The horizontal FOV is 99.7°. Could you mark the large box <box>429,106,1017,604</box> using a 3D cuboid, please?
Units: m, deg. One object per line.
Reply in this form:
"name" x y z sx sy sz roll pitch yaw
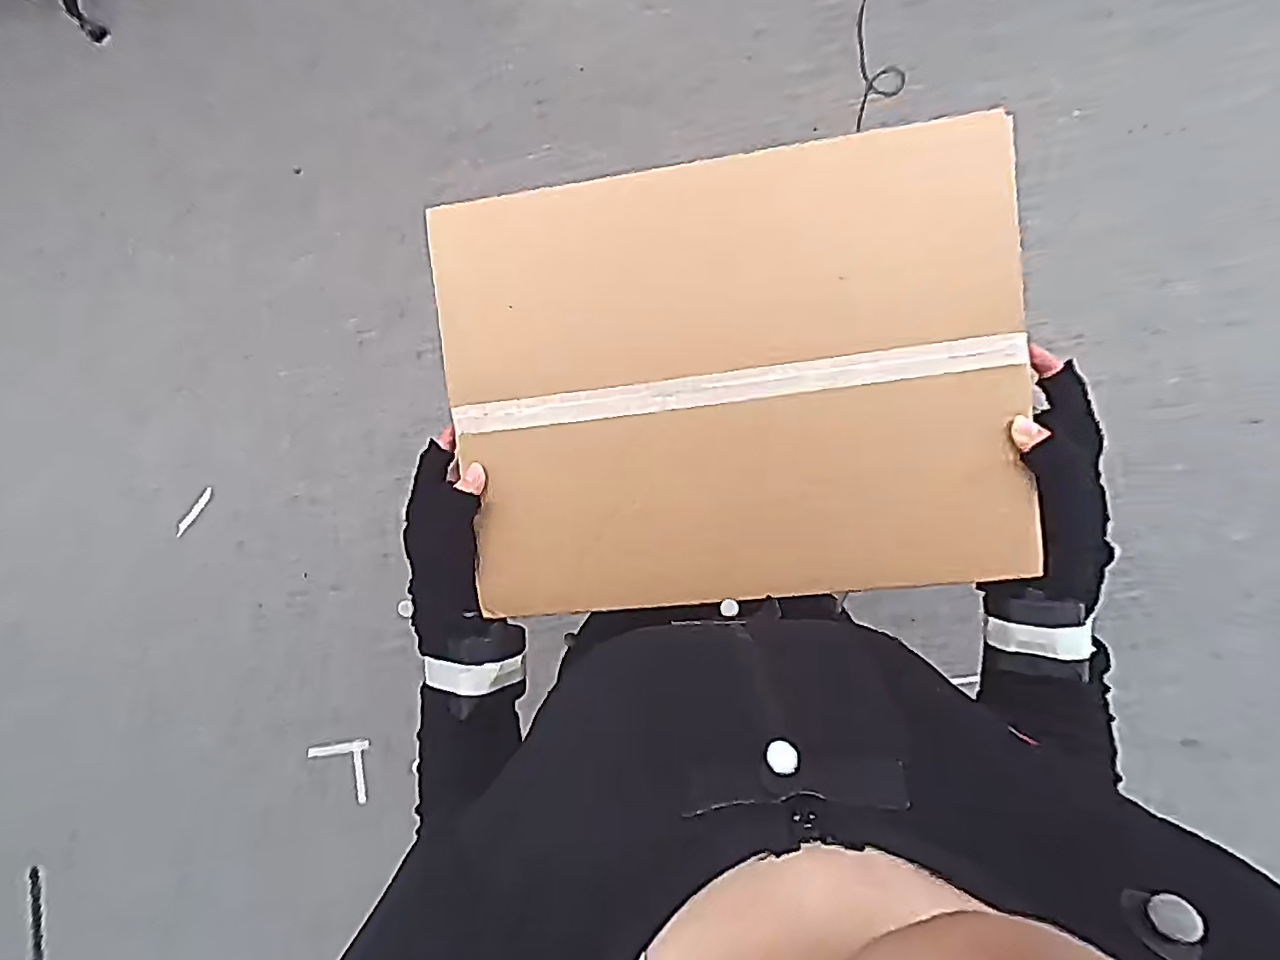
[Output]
"large box" 0.072 -0.090 0.541 0.408 0.320 0.320 -6 94 7
